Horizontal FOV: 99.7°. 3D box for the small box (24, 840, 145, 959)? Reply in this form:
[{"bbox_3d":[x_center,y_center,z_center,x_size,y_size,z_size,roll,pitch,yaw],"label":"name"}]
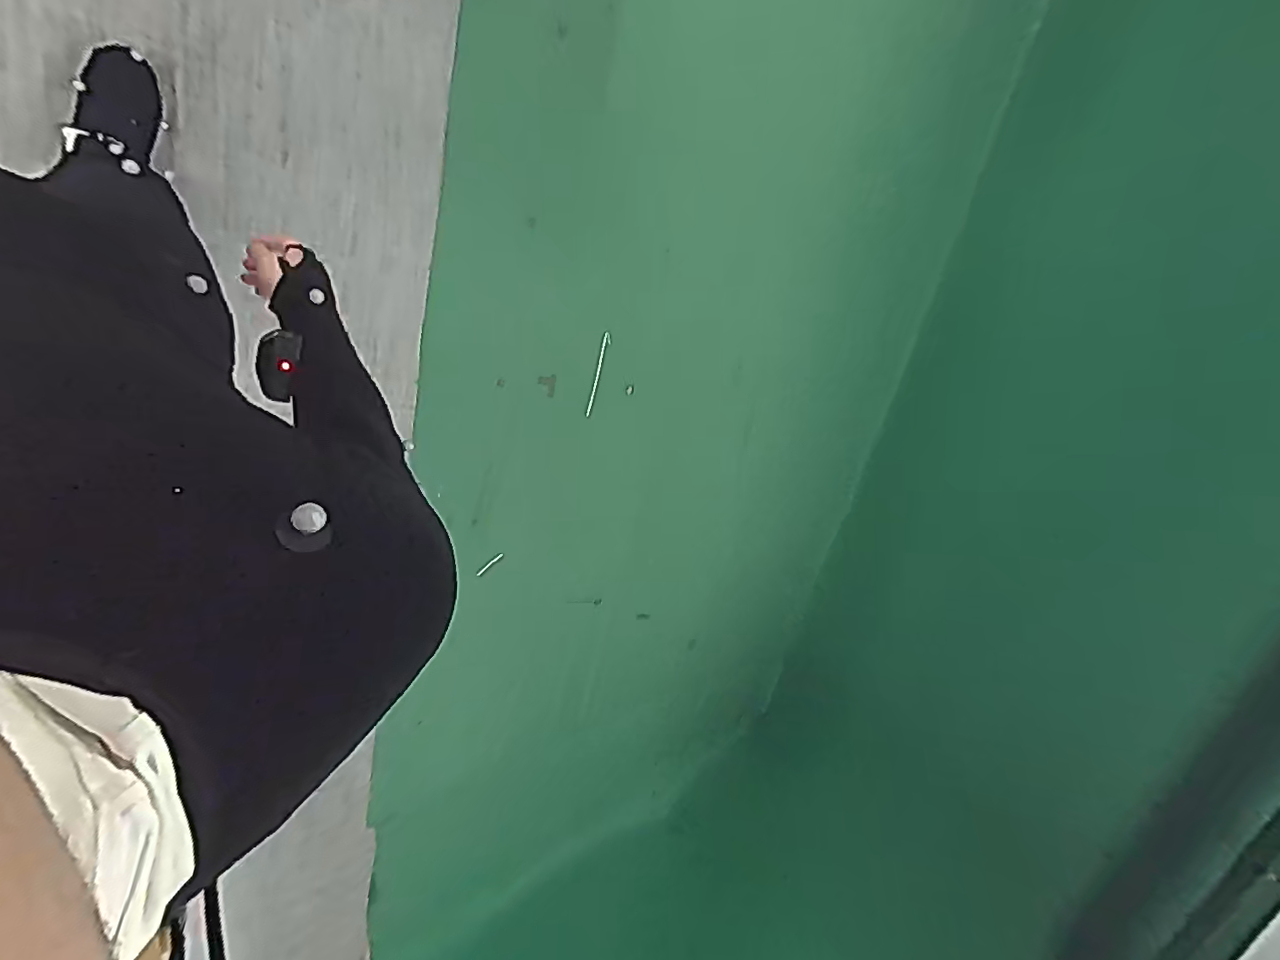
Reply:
[{"bbox_3d":[-1.137,0.902,1.116,0.168,0.176,0.179,-1,114,-45],"label":"small box"}]

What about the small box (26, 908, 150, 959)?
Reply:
[{"bbox_3d":[-1.032,0.966,1.008,0.168,0.176,0.179,2,111,-46],"label":"small box"}]
